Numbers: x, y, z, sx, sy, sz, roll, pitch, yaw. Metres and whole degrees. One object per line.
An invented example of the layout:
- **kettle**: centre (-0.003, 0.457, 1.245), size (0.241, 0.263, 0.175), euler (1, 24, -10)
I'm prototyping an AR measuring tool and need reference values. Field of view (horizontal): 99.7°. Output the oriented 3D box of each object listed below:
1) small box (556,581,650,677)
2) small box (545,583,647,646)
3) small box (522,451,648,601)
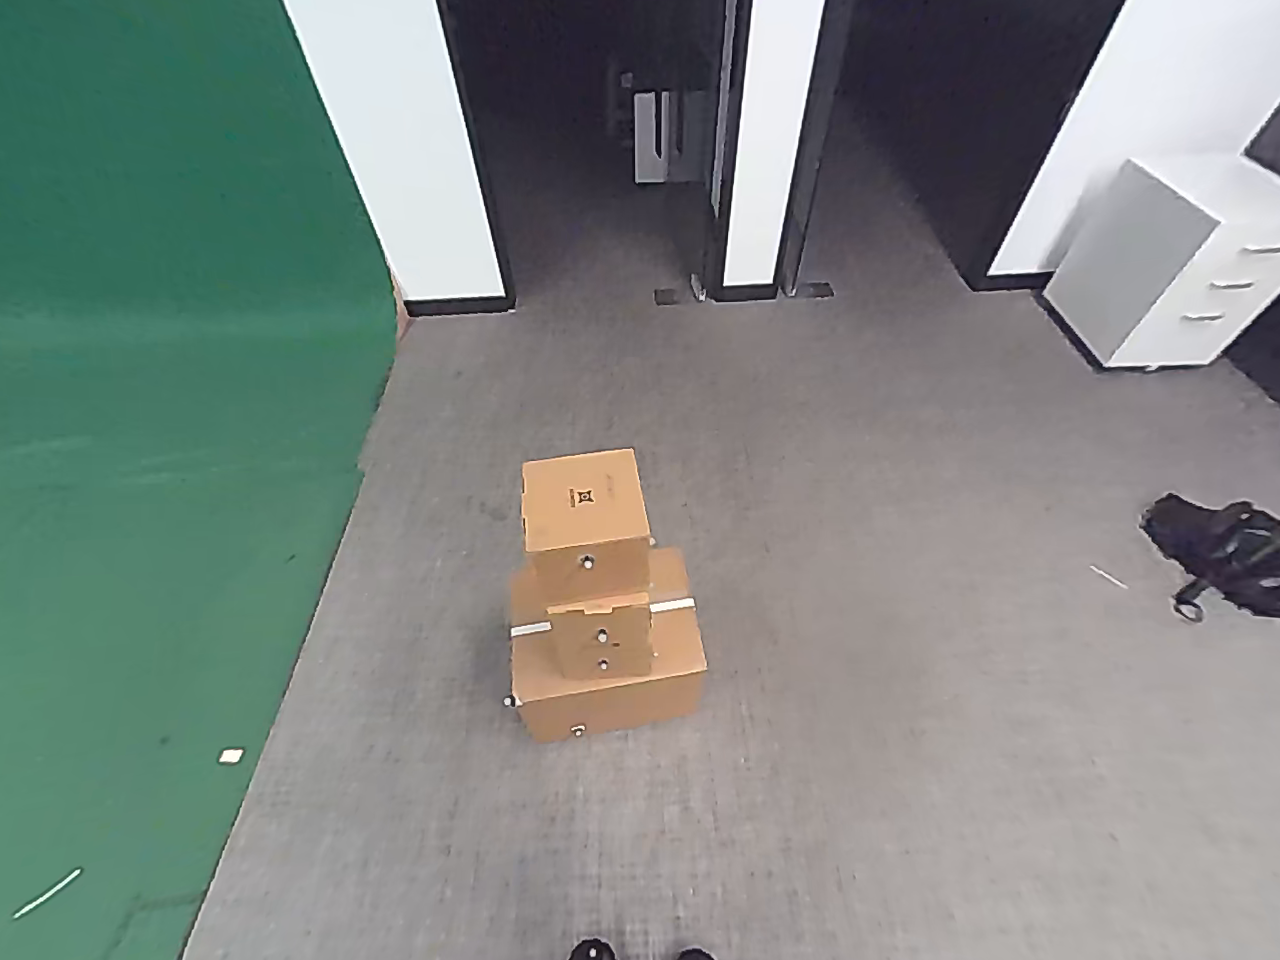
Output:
- **small box**: centre (-0.071, 0.293, 1.108), size (0.179, 0.176, 0.168), euler (-4, 51, -1)
- **small box**: centre (-0.074, 0.191, 0.982), size (0.168, 0.176, 0.179), euler (-4, 52, -2)
- **small box**: centre (-0.085, 0.078, 0.864), size (0.179, 0.176, 0.168), euler (-7, 52, -6)
